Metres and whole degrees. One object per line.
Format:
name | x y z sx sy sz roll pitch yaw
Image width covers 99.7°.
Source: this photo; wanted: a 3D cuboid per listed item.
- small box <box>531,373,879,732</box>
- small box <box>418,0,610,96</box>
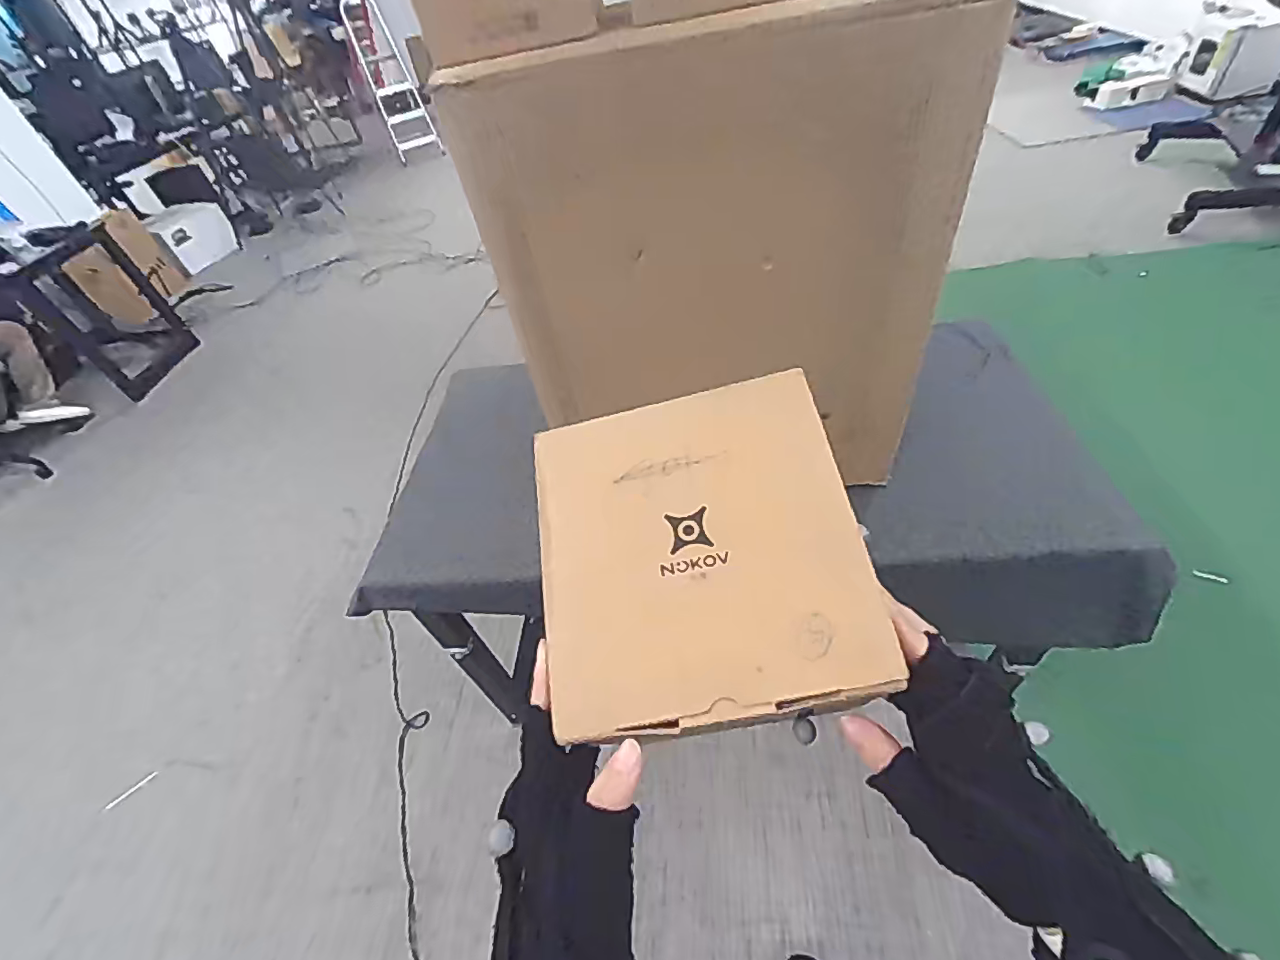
small box | 0.039 0.063 0.364 0.168 0.176 0.179 -13 62 7
small box | -0.128 -0.510 0.539 0.168 0.176 0.179 -10 47 6
